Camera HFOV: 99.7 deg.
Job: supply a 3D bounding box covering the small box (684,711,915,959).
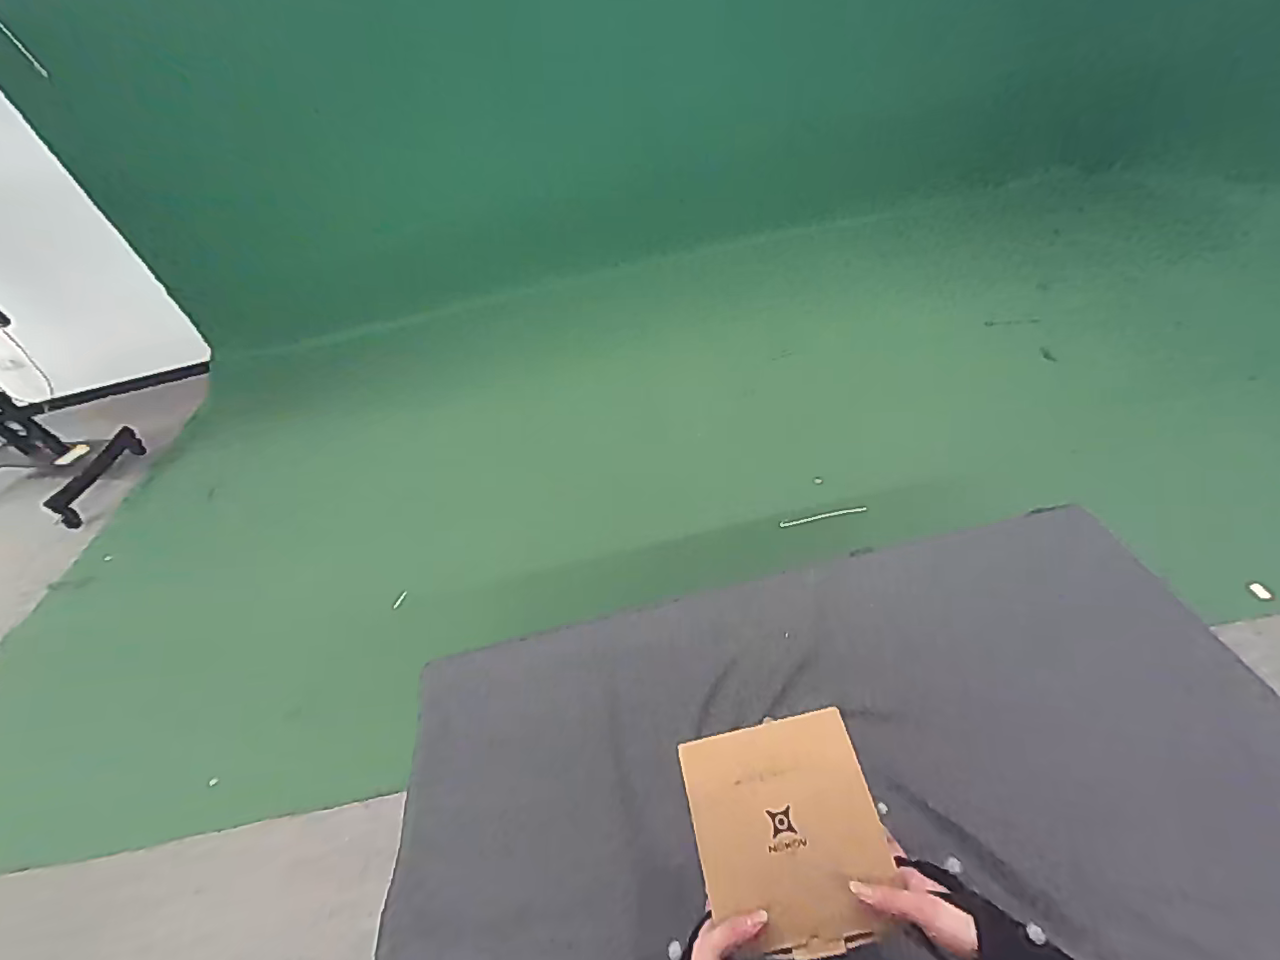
[{"bbox_3d":[0.156,0.360,0.565,0.168,0.176,0.179,-17,57,5],"label":"small box"}]
